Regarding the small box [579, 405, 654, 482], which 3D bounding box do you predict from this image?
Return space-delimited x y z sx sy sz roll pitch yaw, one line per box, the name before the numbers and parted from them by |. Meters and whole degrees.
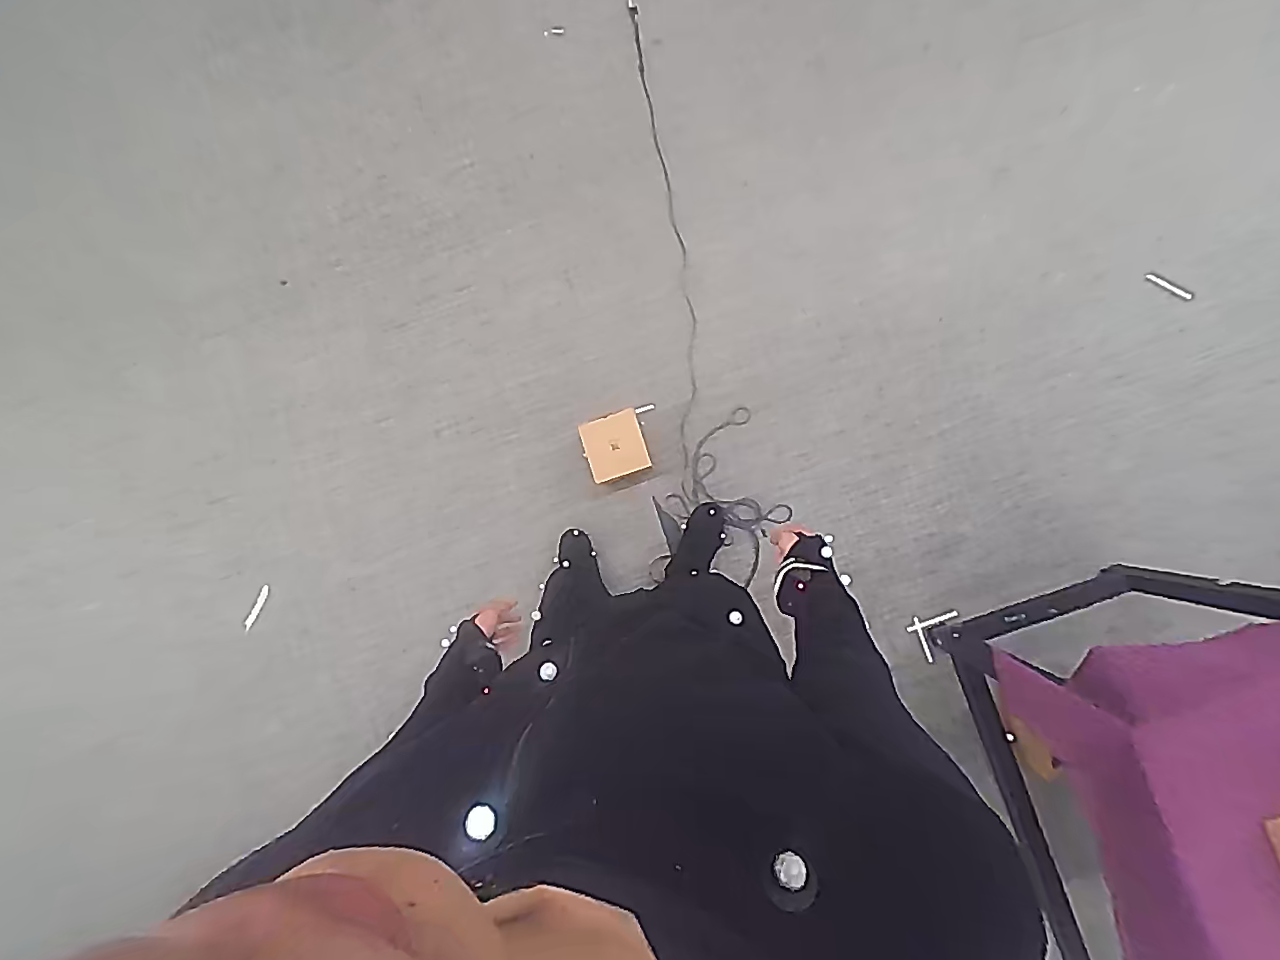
small box | -0.064 -0.099 1.566 0.168 0.176 0.179 -18 88 4
